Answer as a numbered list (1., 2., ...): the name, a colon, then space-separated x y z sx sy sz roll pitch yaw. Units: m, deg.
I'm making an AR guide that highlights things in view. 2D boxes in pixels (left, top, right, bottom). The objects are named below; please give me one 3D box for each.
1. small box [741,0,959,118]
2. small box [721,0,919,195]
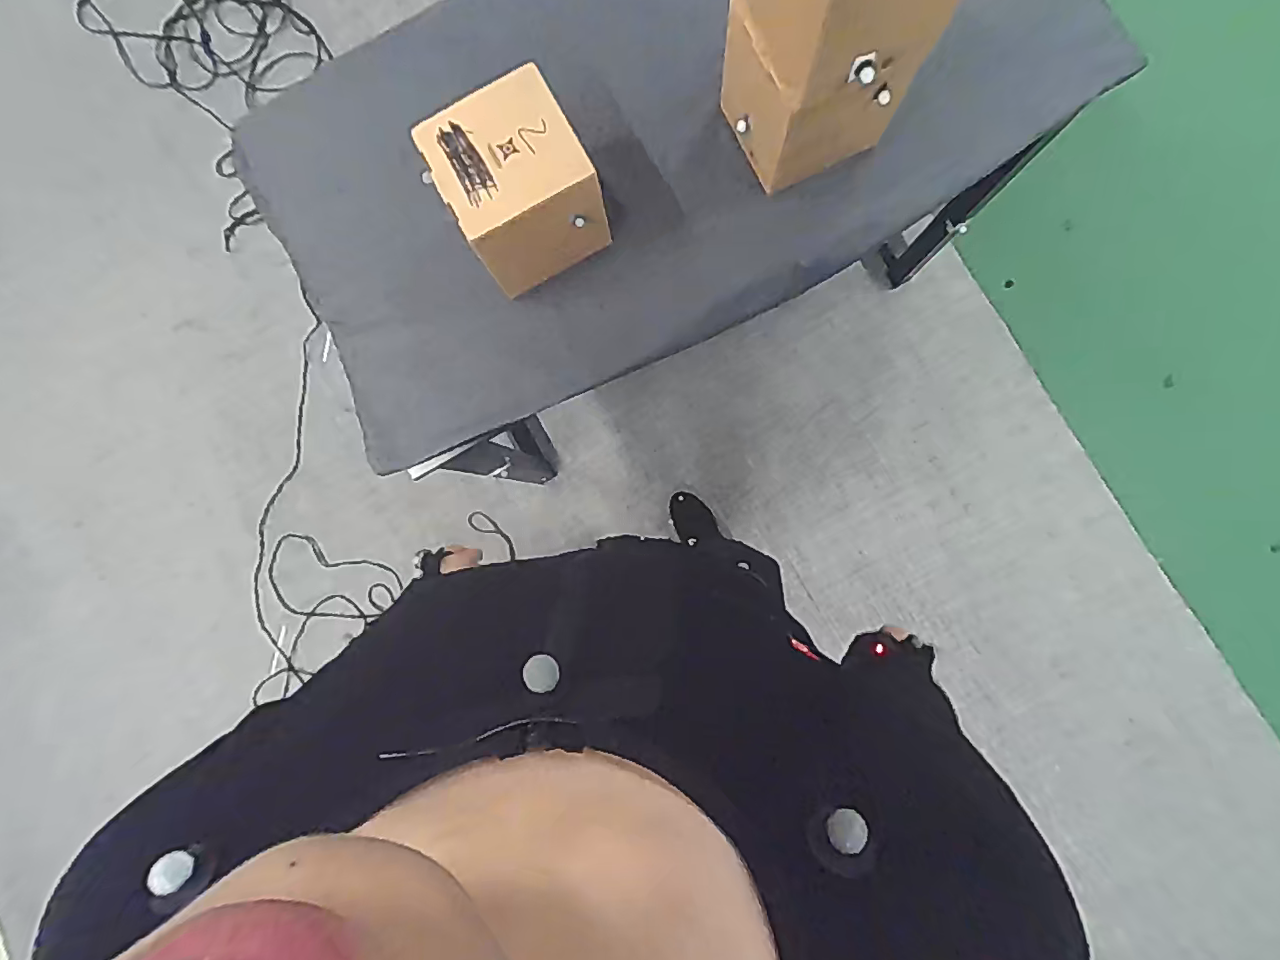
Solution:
1. small box: 0.212 -0.525 0.546 0.168 0.176 0.179 -23 86 4
2. small box: 0.221 -0.521 0.708 0.179 0.176 0.168 -25 84 2
